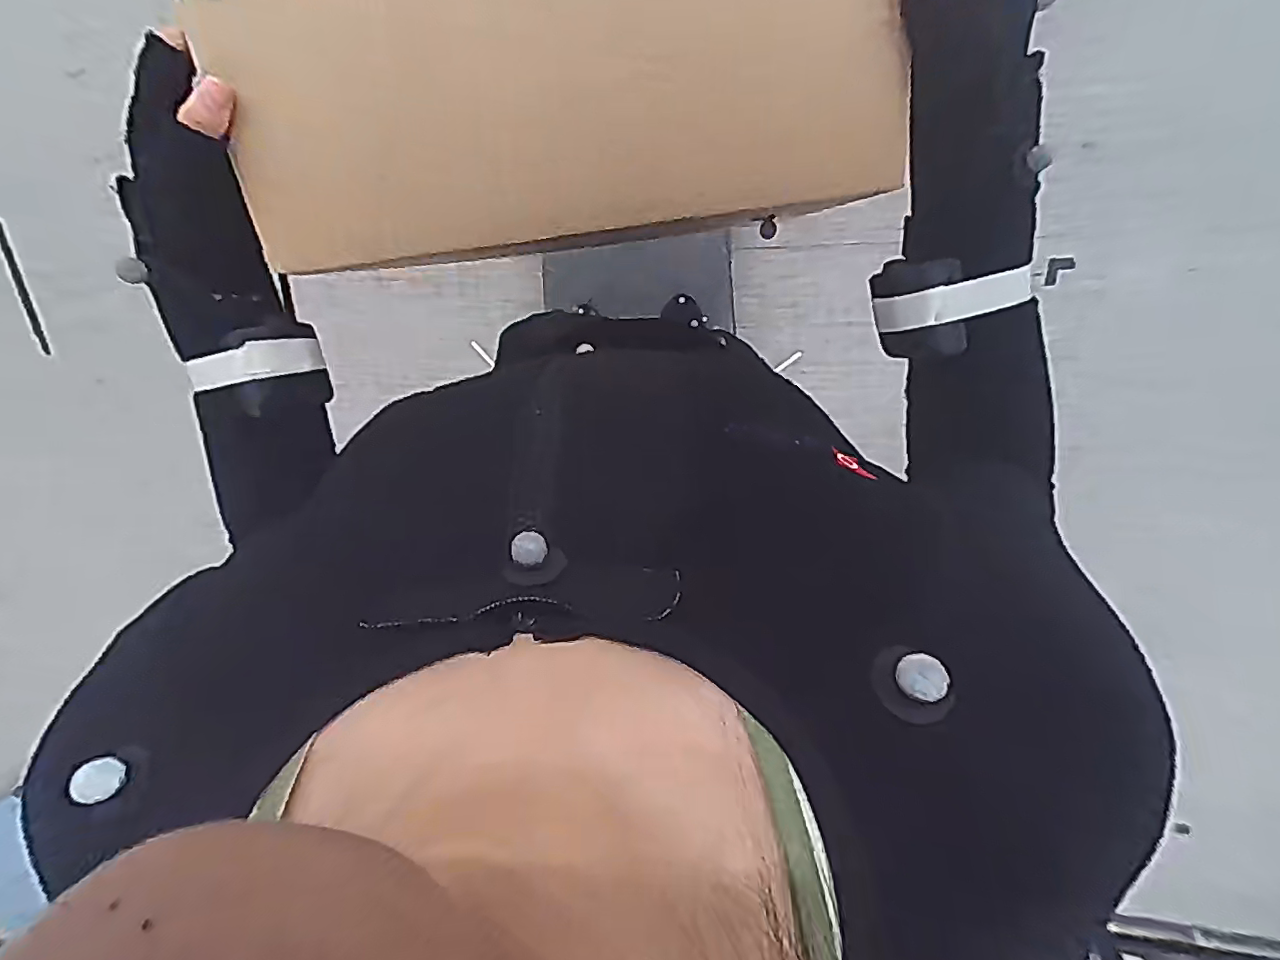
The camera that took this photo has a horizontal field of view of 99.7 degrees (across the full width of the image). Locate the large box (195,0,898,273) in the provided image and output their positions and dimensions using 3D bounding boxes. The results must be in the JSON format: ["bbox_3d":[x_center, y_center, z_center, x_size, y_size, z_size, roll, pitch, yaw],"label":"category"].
[{"bbox_3d":[-0.053,-0.360,0.429,0.408,0.320,0.320,-6,112,4],"label":"large box"}]
